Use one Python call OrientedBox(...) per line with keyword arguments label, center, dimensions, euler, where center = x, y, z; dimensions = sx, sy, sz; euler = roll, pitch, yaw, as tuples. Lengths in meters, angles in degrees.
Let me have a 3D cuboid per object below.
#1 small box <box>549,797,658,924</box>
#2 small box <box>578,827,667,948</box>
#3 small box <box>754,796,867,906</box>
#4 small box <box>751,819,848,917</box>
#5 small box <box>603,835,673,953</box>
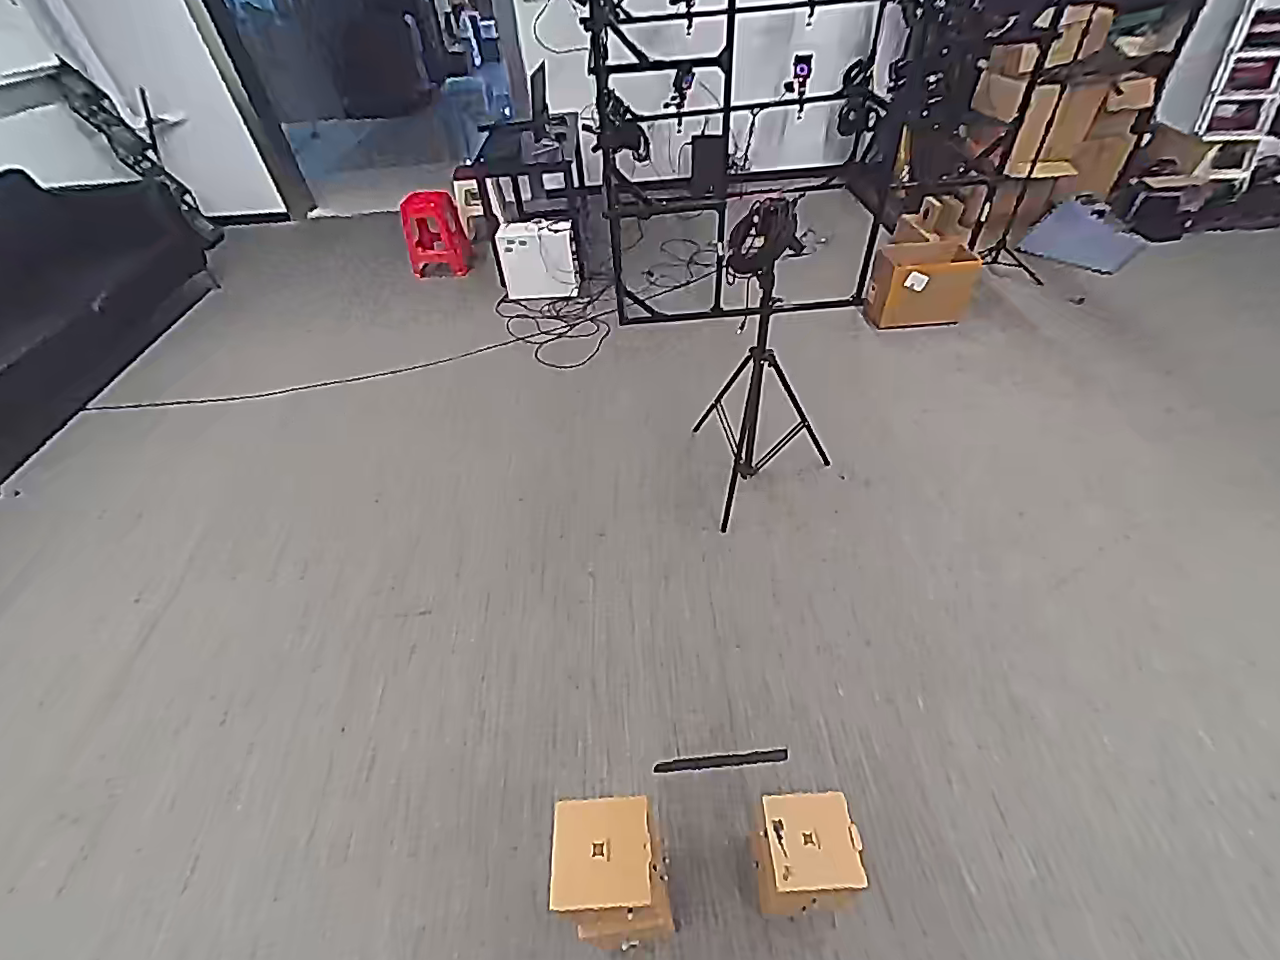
OrientedBox(label="small box", center=(-0.062, 0.713, 1.011), dimensions=(0.179, 0.176, 0.168), euler=(-5, 45, 1))
OrientedBox(label="small box", center=(-0.038, 0.835, 1.117), dimensions=(0.168, 0.176, 0.179), euler=(-8, 45, -2))
OrientedBox(label="small box", center=(0.348, 0.780, 1.136), dimensions=(0.179, 0.176, 0.168), euler=(-3, 44, 1))
OrientedBox(label="small box", center=(0.358, 0.896, 1.251), dimensions=(0.179, 0.176, 0.168), euler=(-4, 45, 0))
OrientedBox(label="small box", center=(-0.020, 0.946, 1.236), dimensions=(0.168, 0.176, 0.179), euler=(-9, 45, -4))
